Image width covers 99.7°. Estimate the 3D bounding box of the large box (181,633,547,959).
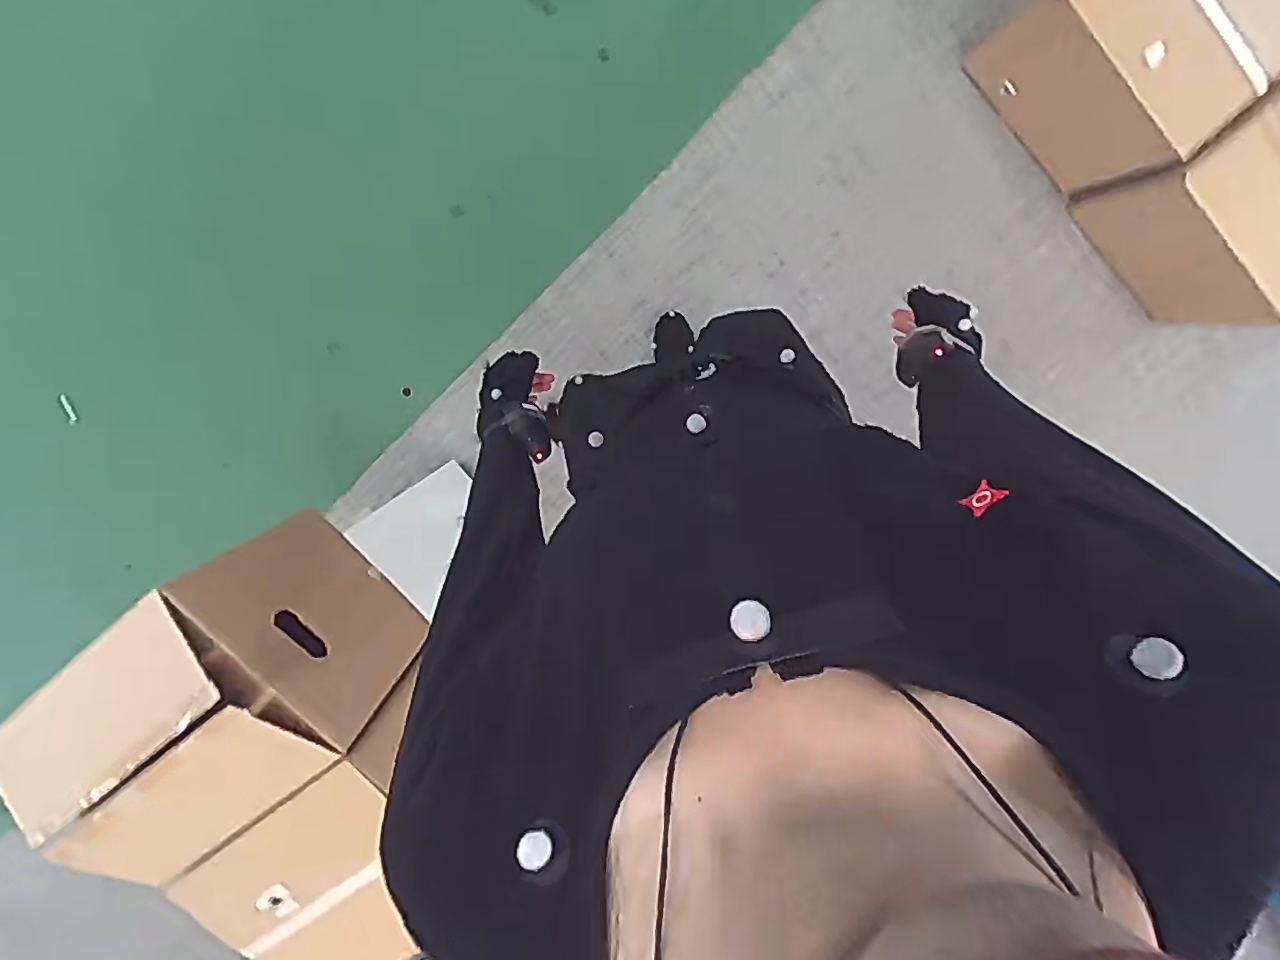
[{"bbox_3d":[-0.428,0.549,0.926,0.408,0.320,0.320,-38,100,13],"label":"large box"}]
